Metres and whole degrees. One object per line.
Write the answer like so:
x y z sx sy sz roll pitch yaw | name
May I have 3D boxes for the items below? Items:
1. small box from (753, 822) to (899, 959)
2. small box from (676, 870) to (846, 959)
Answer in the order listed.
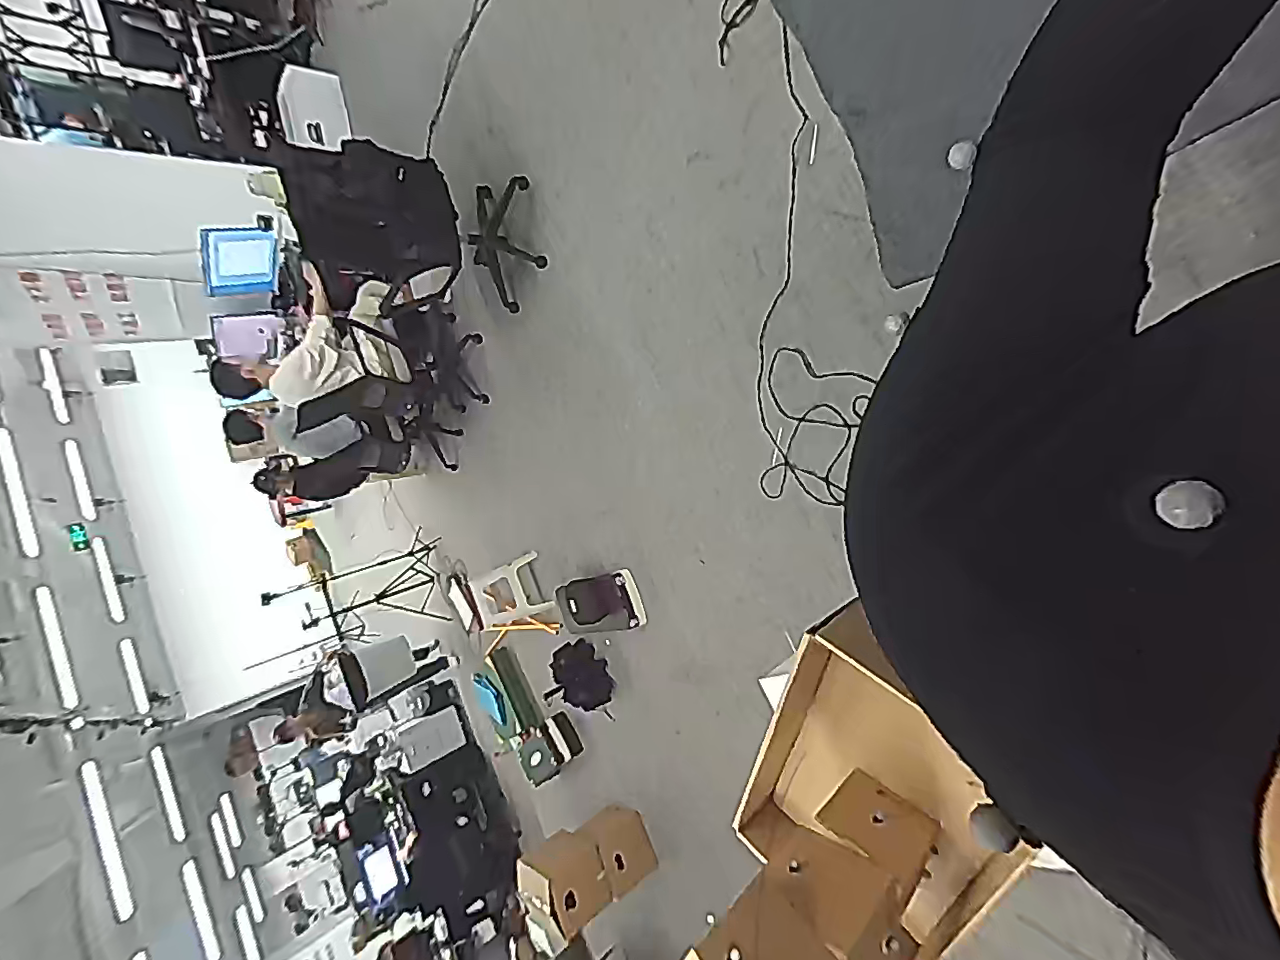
0.317 0.731 0.923 0.179 0.176 0.168 2 105 47 | small box
0.180 0.748 0.829 0.179 0.176 0.168 38 130 33 | small box
